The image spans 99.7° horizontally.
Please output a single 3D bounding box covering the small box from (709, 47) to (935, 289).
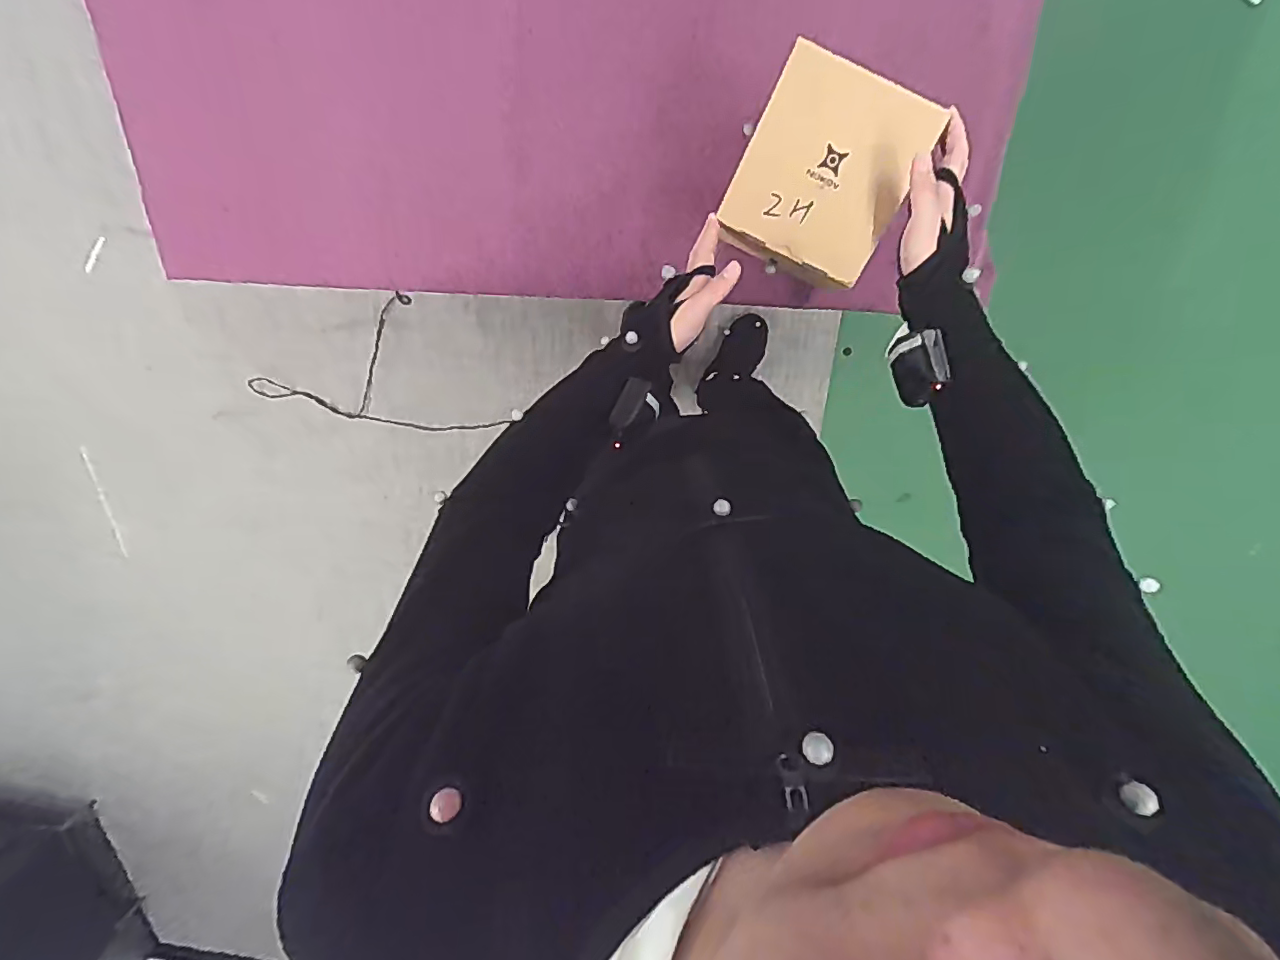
[{"bbox_3d":[0.194,-0.339,0.626,0.168,0.176,0.179,27,112,2],"label":"small box"}]
